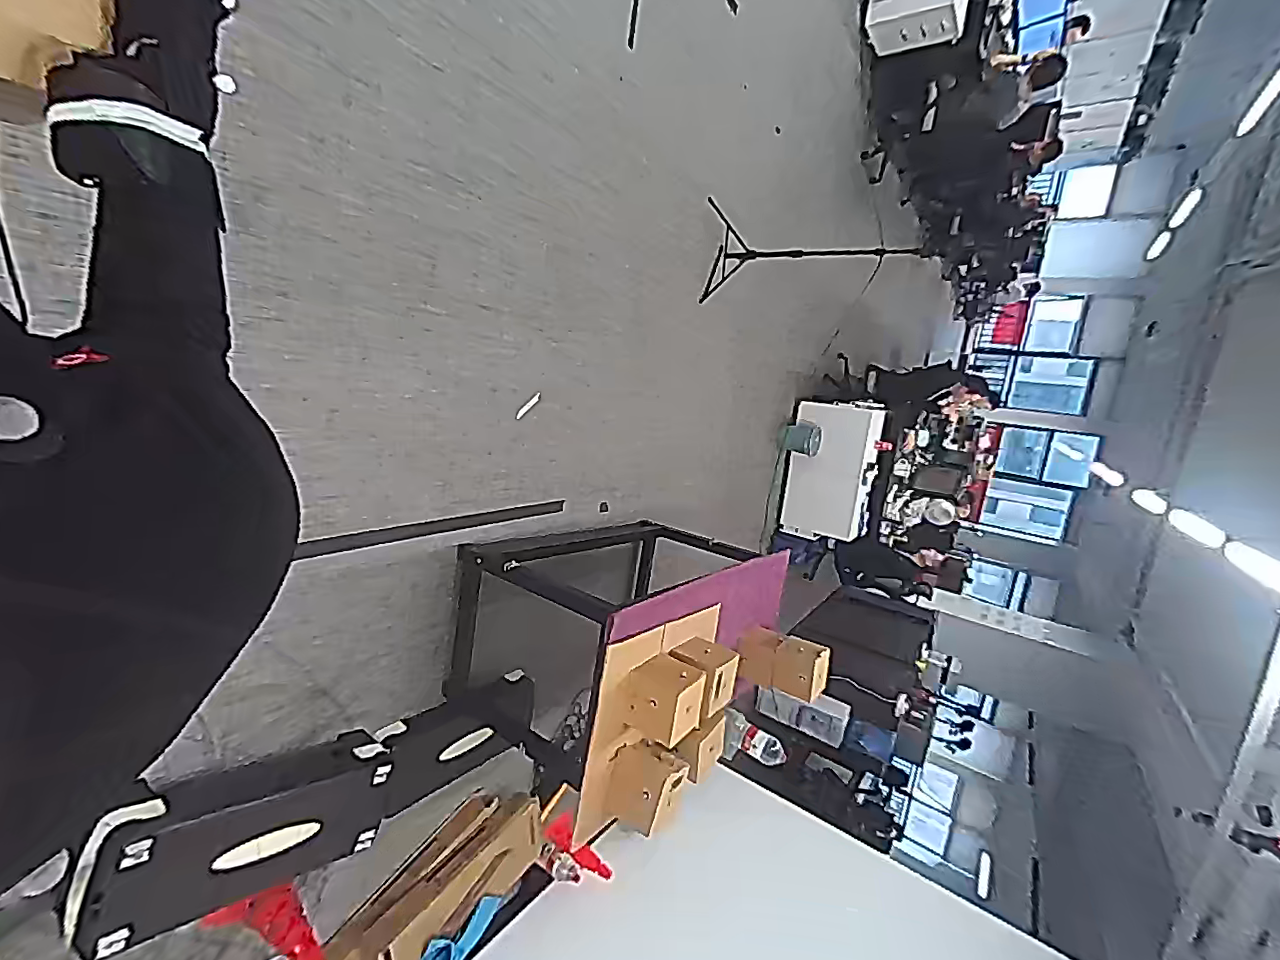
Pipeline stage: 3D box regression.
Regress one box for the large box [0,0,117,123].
[{"bbox_3d":[-0.576,-0.428,0.259,0.408,0.320,0.320,-10,117,-57],"label":"large box"}]
